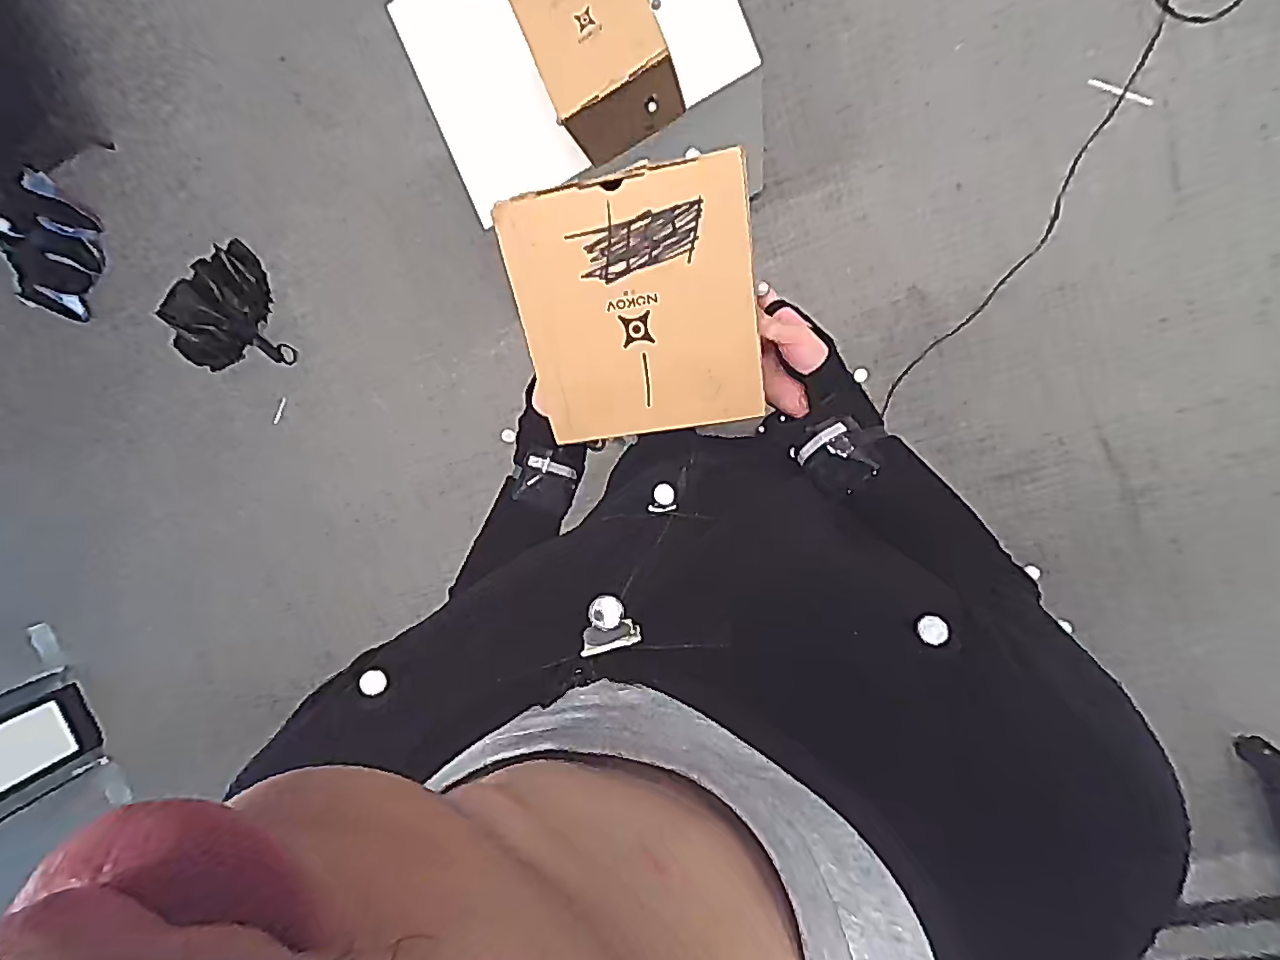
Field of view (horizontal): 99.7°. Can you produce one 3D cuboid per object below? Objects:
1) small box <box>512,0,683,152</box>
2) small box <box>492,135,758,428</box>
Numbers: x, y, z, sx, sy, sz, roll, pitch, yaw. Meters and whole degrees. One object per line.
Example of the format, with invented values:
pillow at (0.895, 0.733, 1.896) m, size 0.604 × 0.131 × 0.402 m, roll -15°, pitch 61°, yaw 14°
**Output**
small box at (-0.050, -0.608, 0.774) m, size 0.168 × 0.176 × 0.179 m, roll -23°, pitch 93°, yaw 15°
small box at (0.003, -0.161, 0.447) m, size 0.168 × 0.176 × 0.179 m, roll -6°, pitch 117°, yaw 10°
